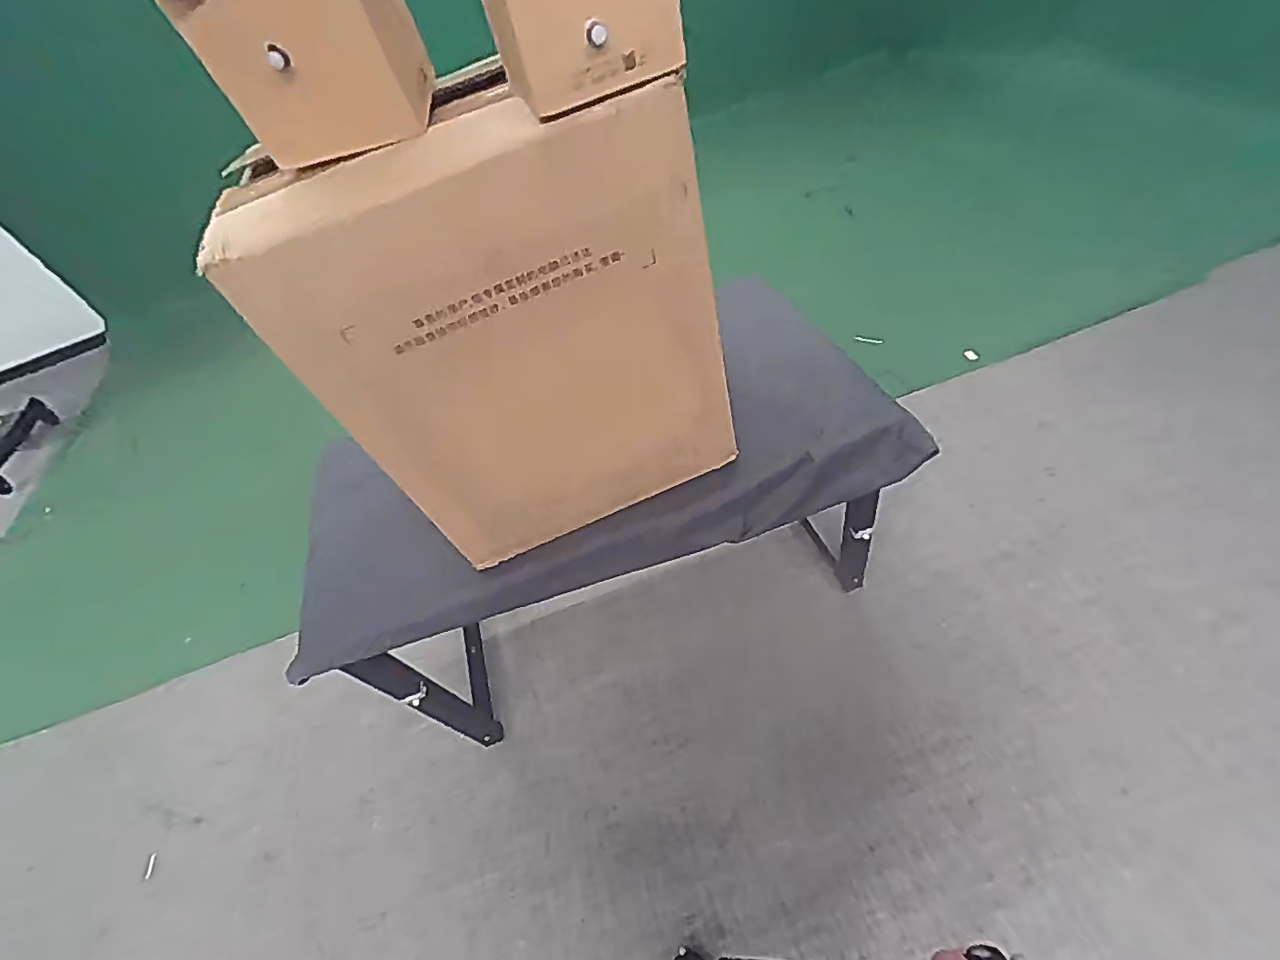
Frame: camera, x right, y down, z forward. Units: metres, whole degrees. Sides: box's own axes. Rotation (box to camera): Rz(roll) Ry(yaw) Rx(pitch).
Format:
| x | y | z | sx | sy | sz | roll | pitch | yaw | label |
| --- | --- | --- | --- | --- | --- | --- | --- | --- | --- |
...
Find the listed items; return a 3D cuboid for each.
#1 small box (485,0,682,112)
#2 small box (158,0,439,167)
| x | y | z | sx | sy | sz | roll | pitch | yaw | label |
| --- | --- | --- | --- | --- | --- | --- | --- | --- | --- |
| -0.071 | -0.504 | 0.547 | 0.168 | 0.176 | 0.179 | -23 | 50 | -3 | small box |
| -0.347 | -0.476 | 0.588 | 0.179 | 0.176 | 0.168 | -12 | 58 | 5 | small box |
